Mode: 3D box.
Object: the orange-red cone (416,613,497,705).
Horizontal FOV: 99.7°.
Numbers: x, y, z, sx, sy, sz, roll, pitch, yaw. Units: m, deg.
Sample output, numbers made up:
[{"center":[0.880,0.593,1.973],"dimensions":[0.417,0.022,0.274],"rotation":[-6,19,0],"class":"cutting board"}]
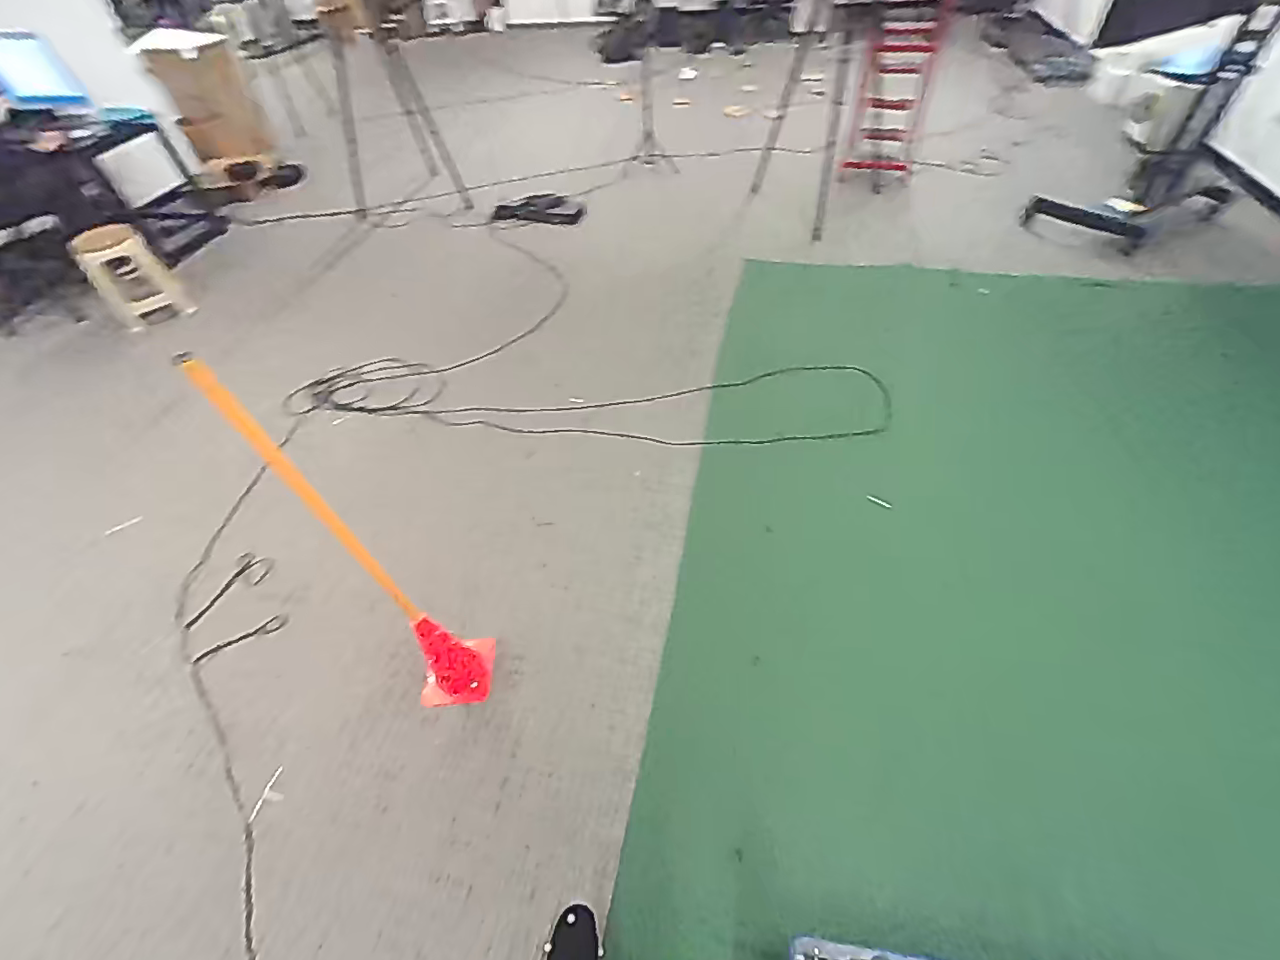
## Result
[{"center":[-0.558,0.477,1.538],"dimensions":[0.198,0.360,0.199],"rotation":[-4,47,1],"class":"orange-red cone"}]
